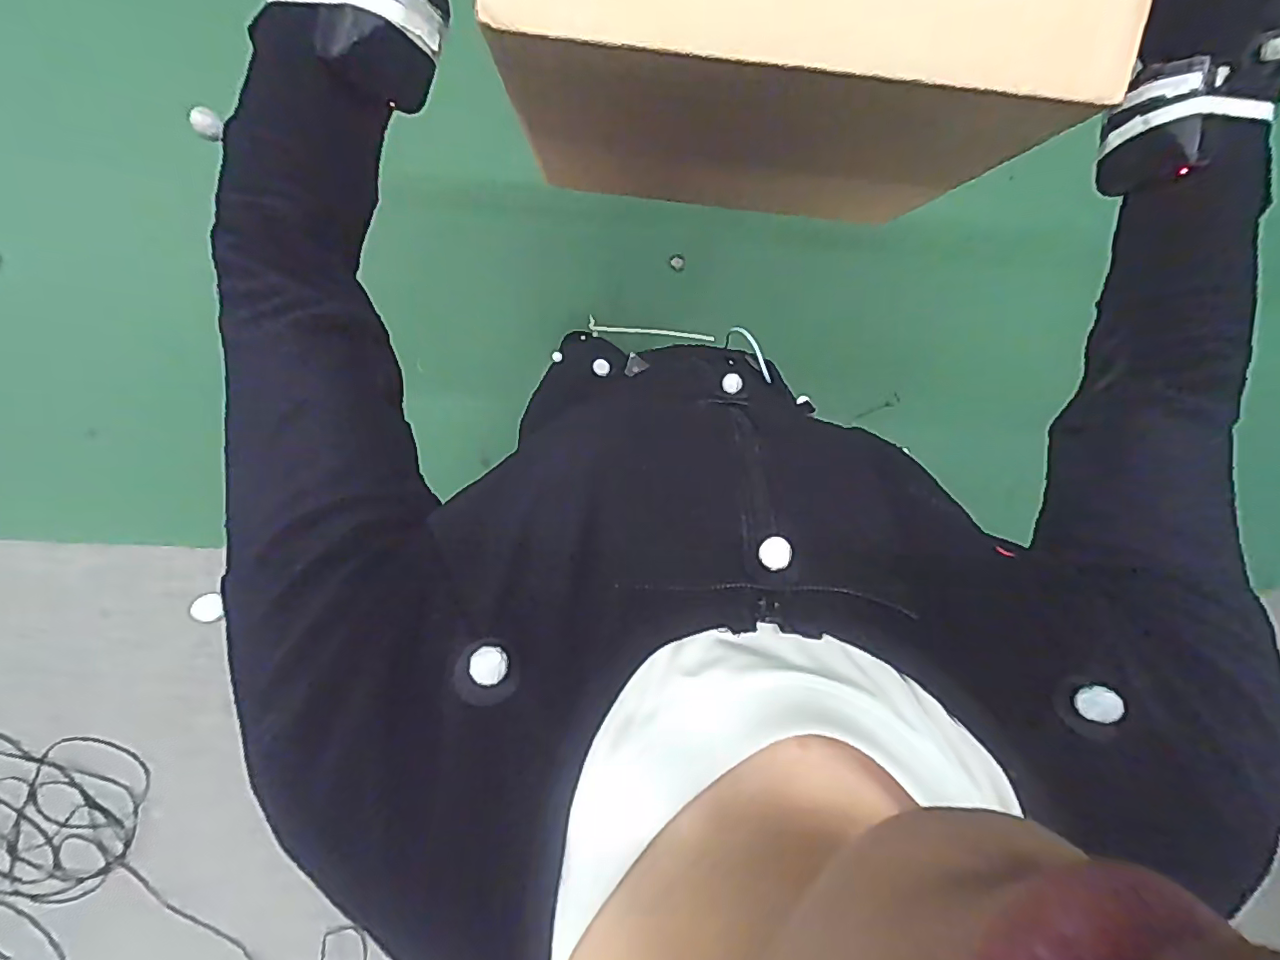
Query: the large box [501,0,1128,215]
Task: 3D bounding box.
[{"bbox_3d":[0.113,-0.445,0.458,0.408,0.320,0.320,4,102,-4],"label":"large box"}]
